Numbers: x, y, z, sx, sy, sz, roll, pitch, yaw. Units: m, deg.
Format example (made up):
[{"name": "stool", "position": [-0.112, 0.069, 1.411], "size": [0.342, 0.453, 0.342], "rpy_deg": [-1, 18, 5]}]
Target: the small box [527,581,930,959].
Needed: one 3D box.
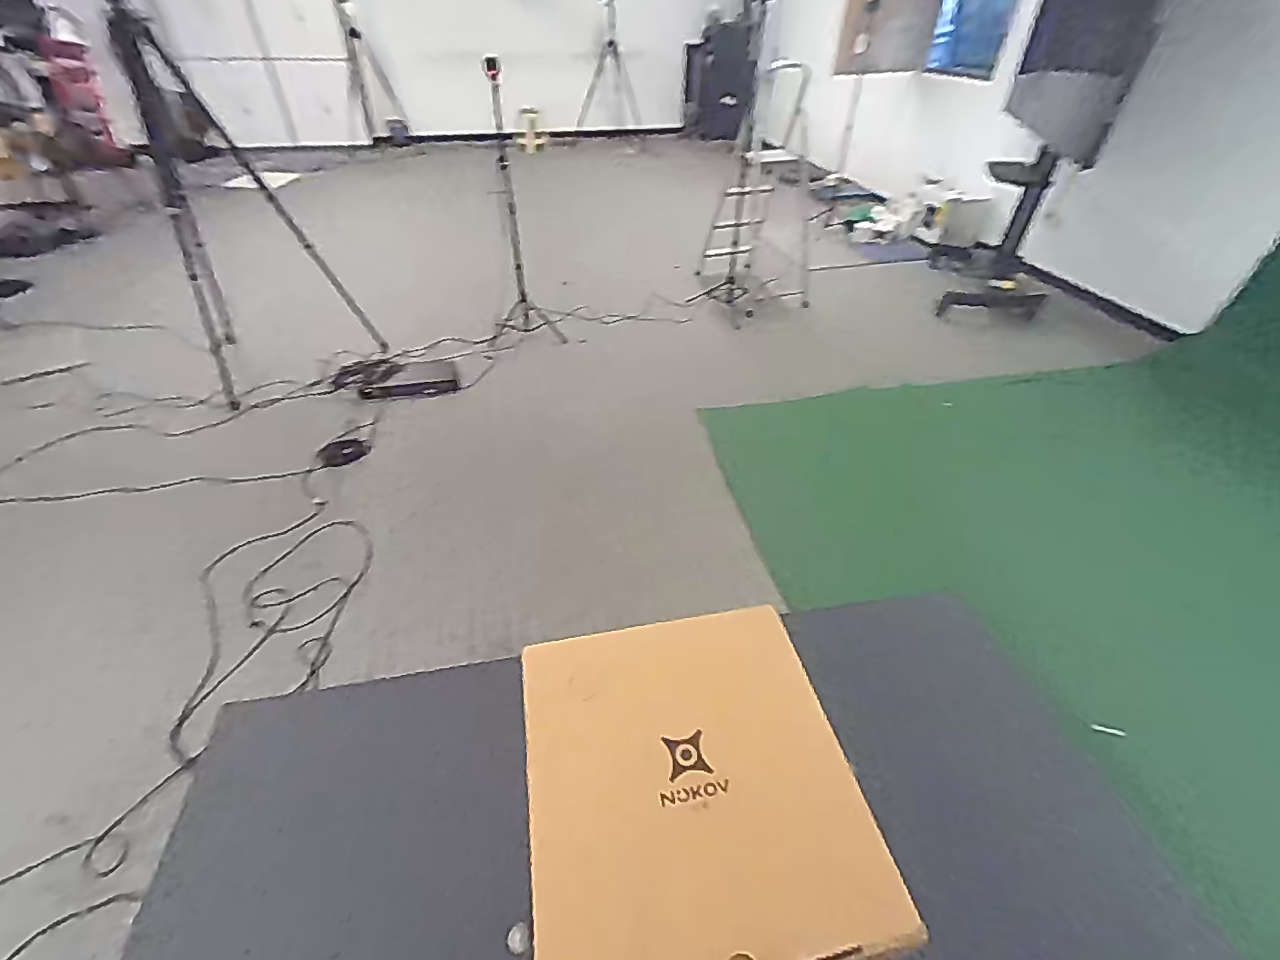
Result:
[{"name": "small box", "position": [0.025, 0.191, 0.328], "size": [0.168, 0.176, 0.179], "rpy_deg": [-8, 41, -10]}]
